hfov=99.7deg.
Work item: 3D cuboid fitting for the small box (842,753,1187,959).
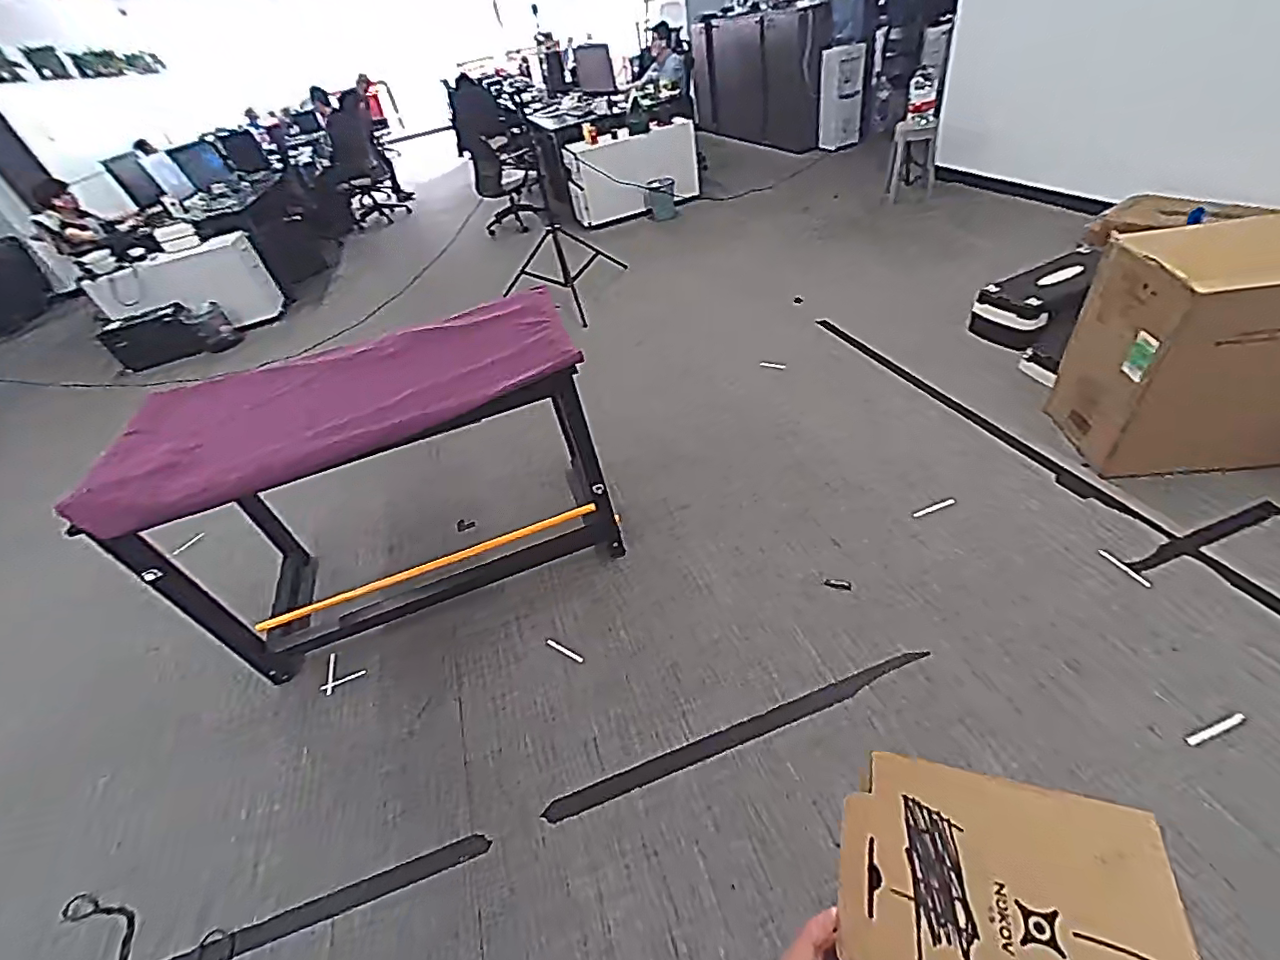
[{"bbox_3d":[0.242,0.327,0.386,0.179,0.176,0.168,5,46,18],"label":"small box"}]
